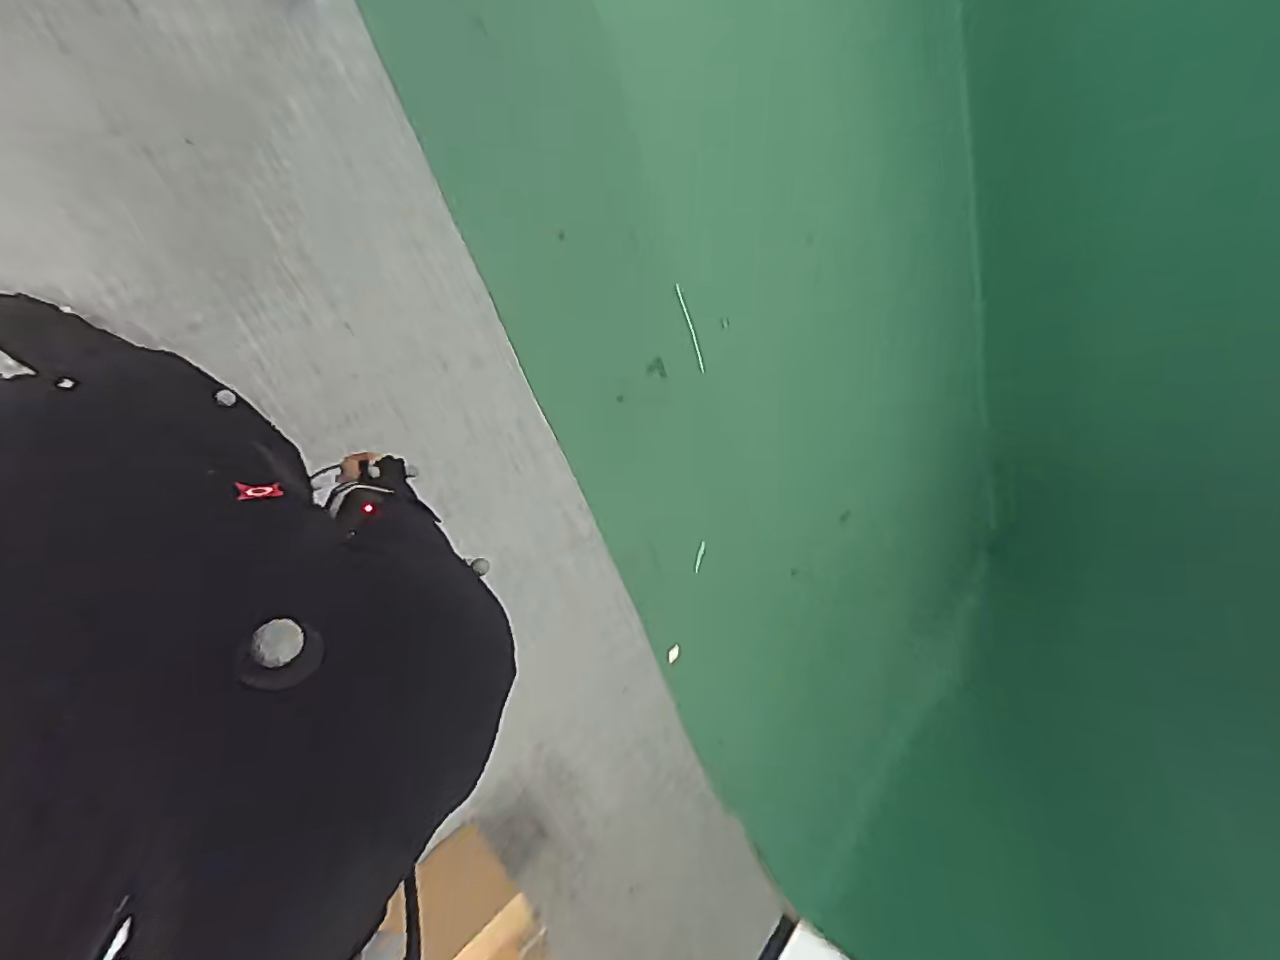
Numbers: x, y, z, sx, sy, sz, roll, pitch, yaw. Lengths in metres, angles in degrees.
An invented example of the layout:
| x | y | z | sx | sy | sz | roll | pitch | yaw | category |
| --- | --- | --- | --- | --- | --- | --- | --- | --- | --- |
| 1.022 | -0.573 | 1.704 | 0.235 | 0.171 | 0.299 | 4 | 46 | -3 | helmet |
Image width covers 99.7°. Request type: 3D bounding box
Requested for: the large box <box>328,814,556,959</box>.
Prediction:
| x | y | z | sx | sy | sz | roll | pitch | yaw | category |
| --- | --- | --- | --- | --- | --- | --- | --- | --- | --- |
| -0.494 | 1.177 | 1.370 | 0.408 | 0.320 | 0.320 | -30 | 114 | -32 | large box |
